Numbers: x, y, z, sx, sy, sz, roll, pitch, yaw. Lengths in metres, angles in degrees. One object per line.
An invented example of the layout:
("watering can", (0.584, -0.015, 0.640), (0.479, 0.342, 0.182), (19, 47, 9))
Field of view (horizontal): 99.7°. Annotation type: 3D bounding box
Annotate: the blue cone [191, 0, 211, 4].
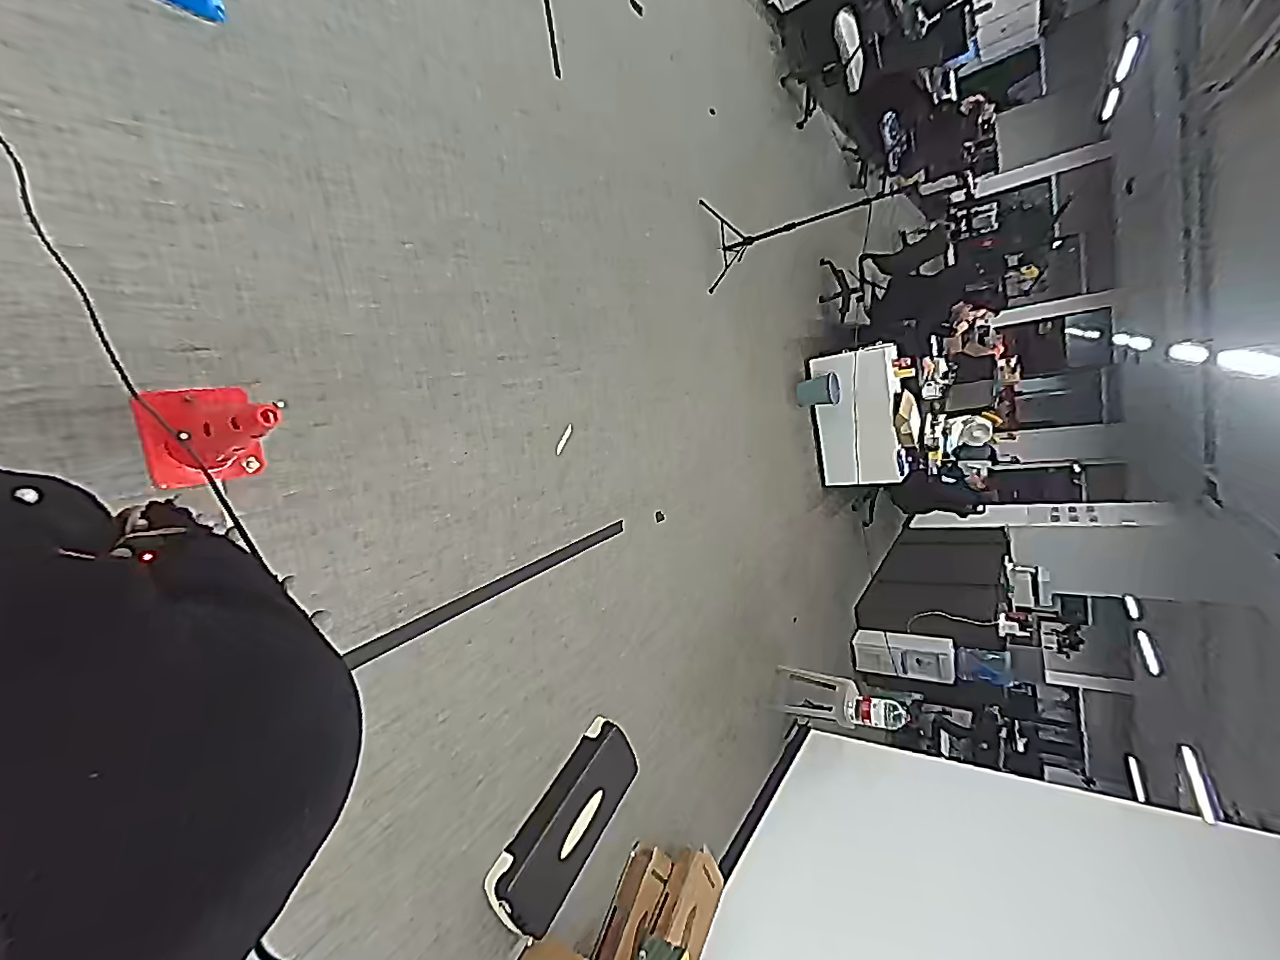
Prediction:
("blue cone", (-0.885, -1.138, 1.034), (0.193, 0.380, 0.192), (-16, 99, -53))
